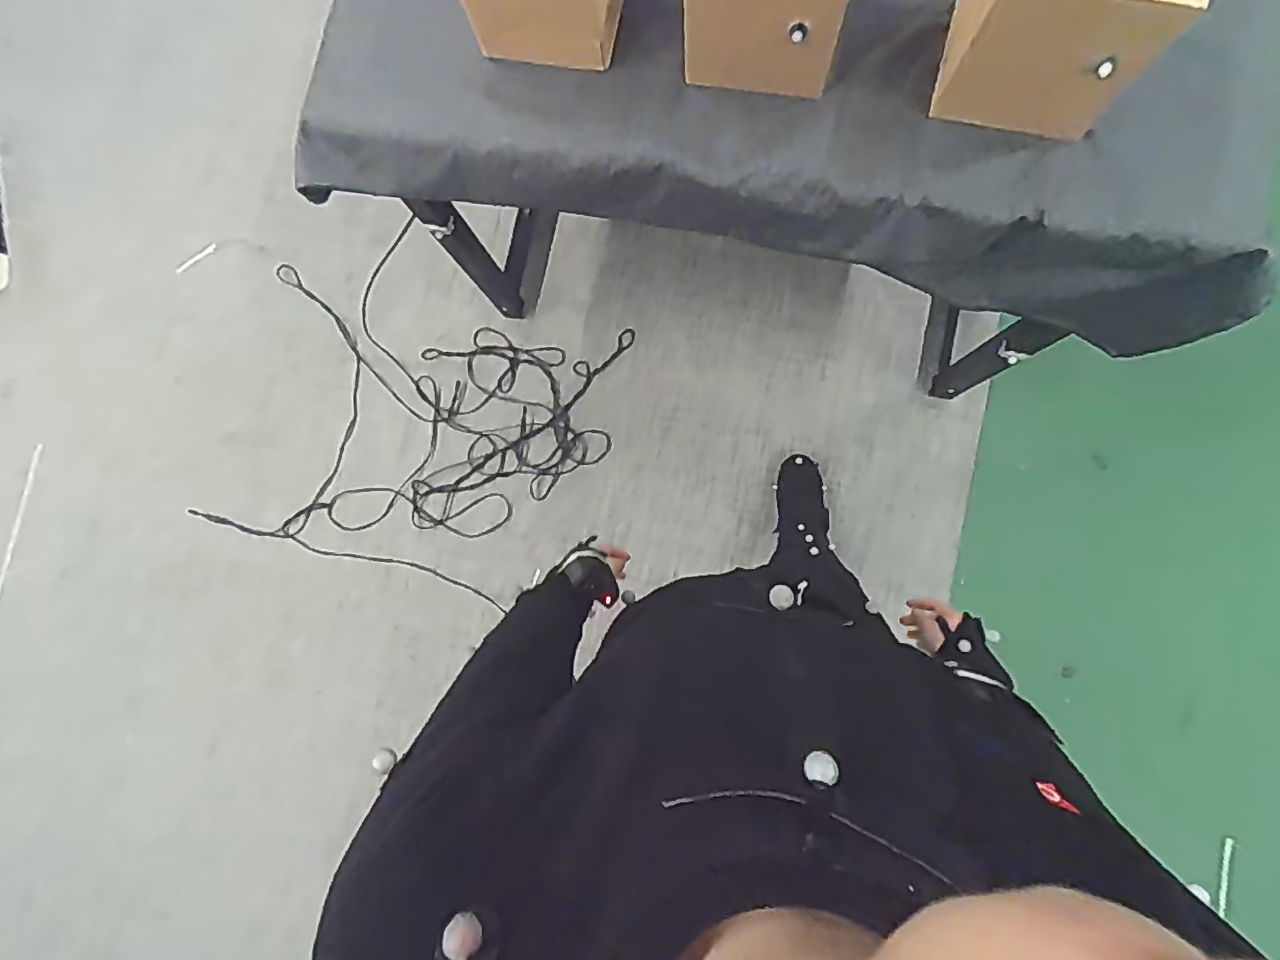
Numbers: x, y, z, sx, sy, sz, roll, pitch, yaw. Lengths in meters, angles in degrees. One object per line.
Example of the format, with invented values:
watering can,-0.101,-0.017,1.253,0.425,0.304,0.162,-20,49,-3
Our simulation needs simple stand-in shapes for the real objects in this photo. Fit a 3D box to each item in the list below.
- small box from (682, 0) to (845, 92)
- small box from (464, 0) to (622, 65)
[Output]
small box,0.149,-0.582,0.611,0.179,0.176,0.168,11,84,9
small box,-0.121,-0.644,0.647,0.179,0.176,0.168,11,85,7
